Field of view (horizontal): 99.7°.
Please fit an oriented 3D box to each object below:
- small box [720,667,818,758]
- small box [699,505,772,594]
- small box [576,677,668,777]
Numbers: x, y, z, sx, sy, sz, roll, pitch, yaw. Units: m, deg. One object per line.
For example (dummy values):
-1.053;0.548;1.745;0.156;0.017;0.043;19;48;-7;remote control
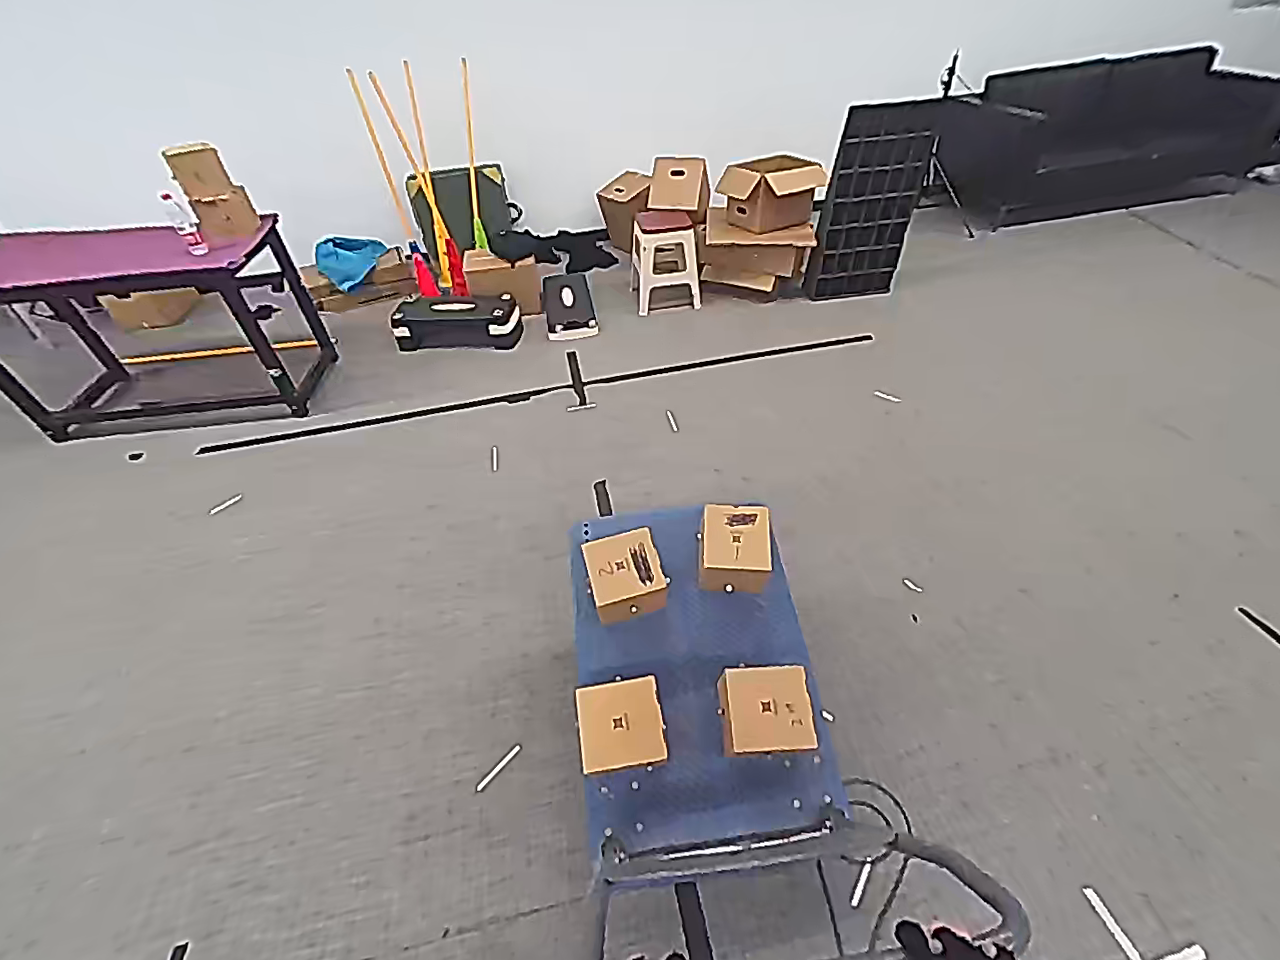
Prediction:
0.276;0.523;1.208;0.179;0.176;0.168;-2;60;0;small box
0.242;0.183;1.411;0.168;0.176;0.179;3;60;3;small box
-0.040;0.551;1.197;0.179;0.176;0.168;-8;60;-6;small box
